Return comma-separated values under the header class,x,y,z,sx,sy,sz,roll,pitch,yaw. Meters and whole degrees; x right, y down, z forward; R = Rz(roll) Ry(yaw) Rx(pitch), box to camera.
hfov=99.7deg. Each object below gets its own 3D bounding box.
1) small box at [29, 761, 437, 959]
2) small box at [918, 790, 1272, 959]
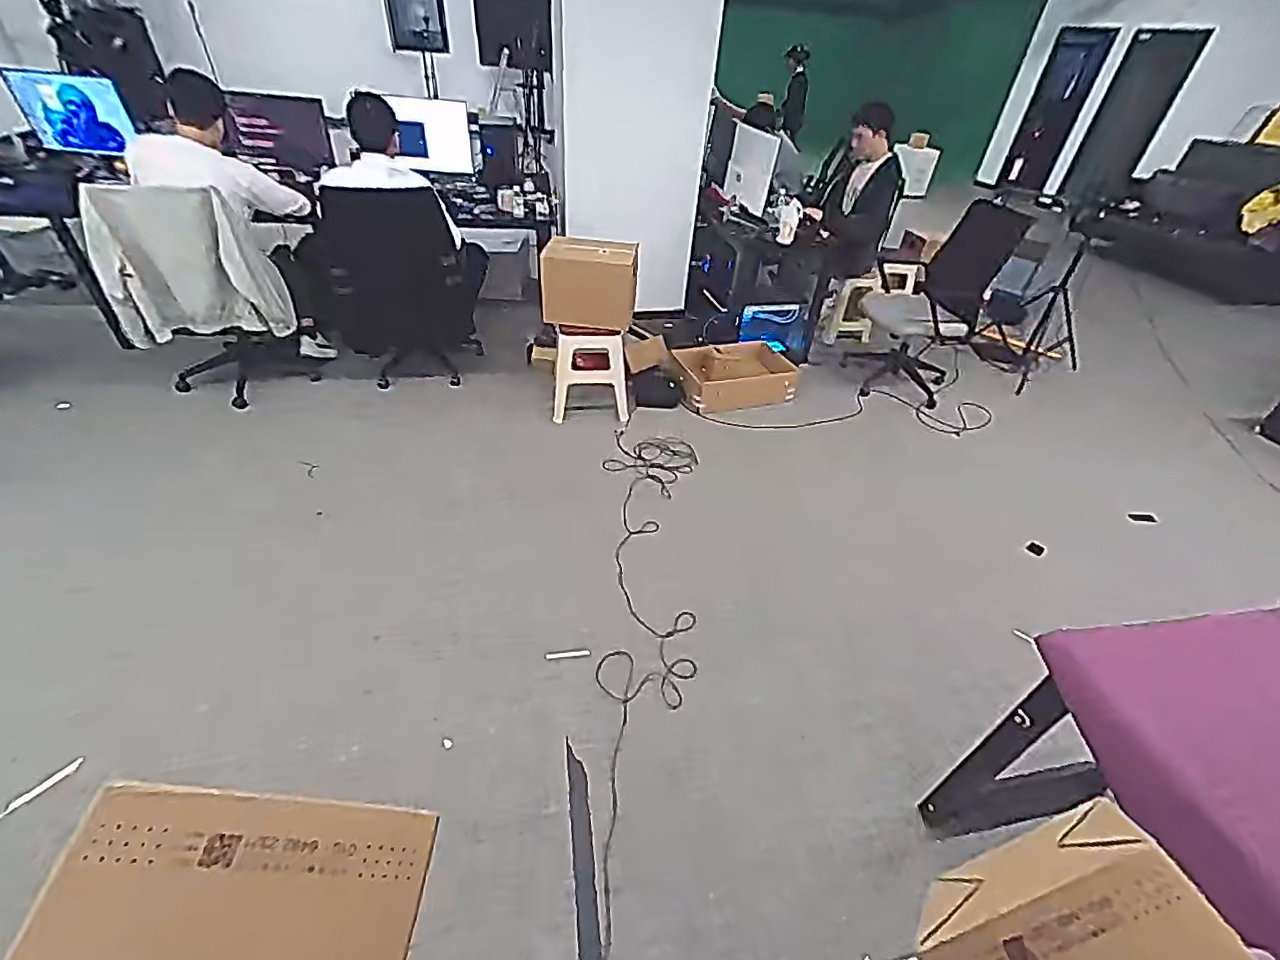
class,x,y,z,sx,sy,sz,roll,pitch,yaw
small box,-0.235,0.273,0.325,0.168,0.179,0.176,20,56,-19
small box,0.316,0.335,0.361,0.168,0.179,0.176,-40,57,14
